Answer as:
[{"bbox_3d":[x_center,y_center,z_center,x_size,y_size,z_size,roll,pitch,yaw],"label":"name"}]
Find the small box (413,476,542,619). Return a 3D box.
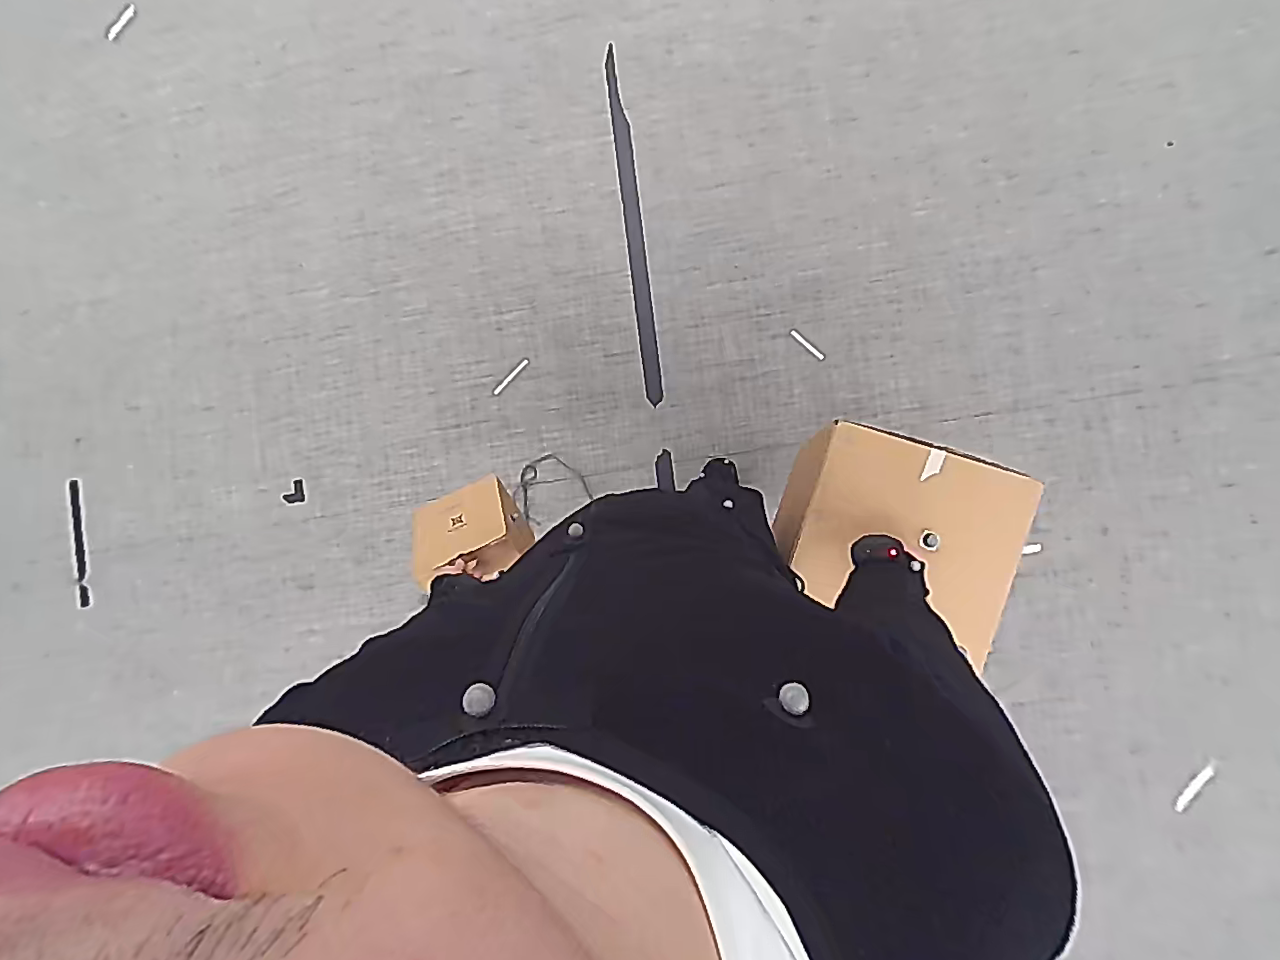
[{"bbox_3d":[-0.294,0.130,0.990,0.168,0.179,0.176,-24,133,-3],"label":"small box"}]
